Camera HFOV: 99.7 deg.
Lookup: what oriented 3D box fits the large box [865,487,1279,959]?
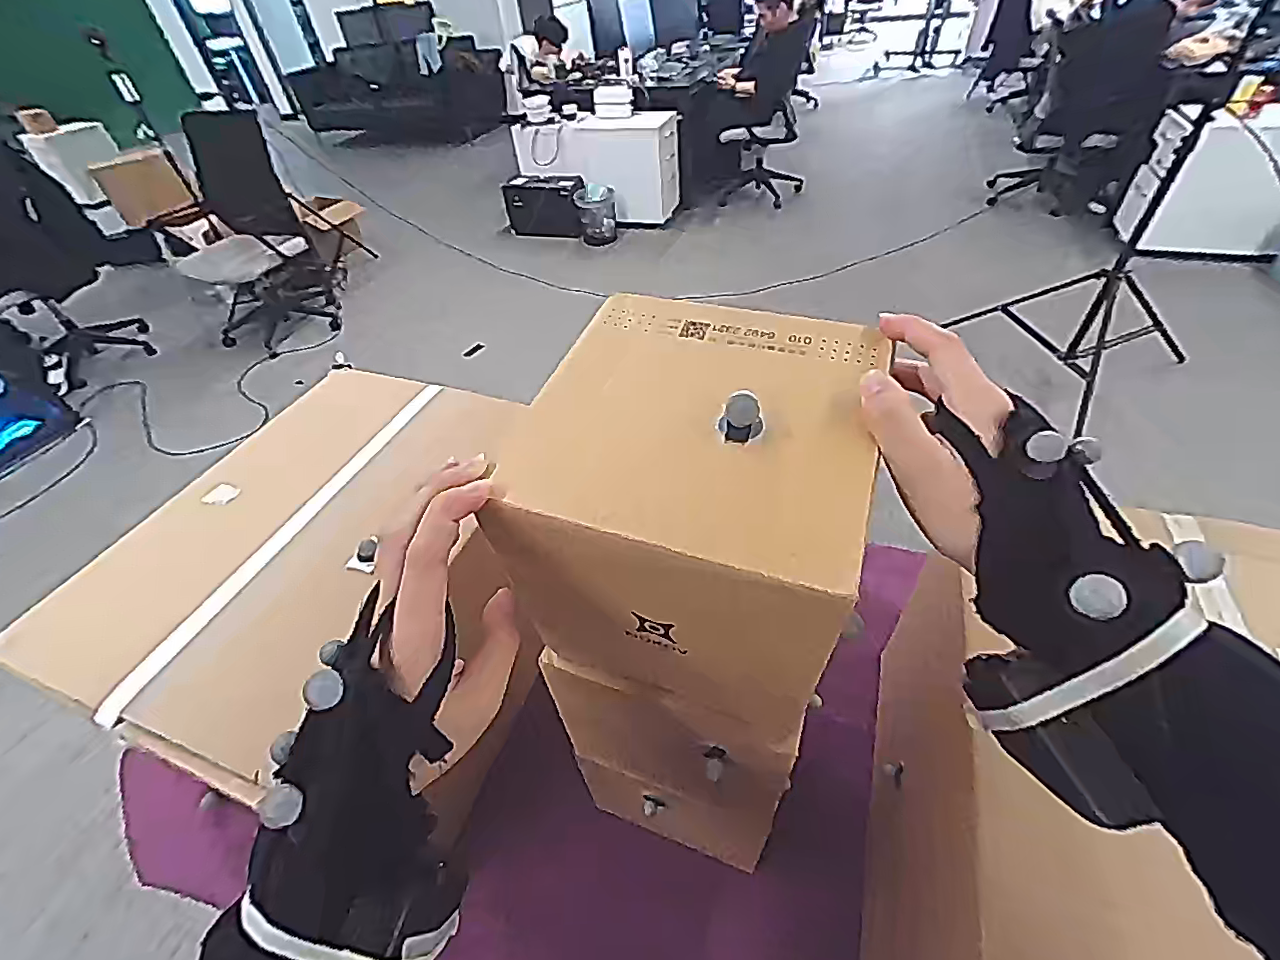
[{"bbox_3d":[0.365,0.271,0.411,0.320,0.320,0.408,11,46,16],"label":"large box"}]
